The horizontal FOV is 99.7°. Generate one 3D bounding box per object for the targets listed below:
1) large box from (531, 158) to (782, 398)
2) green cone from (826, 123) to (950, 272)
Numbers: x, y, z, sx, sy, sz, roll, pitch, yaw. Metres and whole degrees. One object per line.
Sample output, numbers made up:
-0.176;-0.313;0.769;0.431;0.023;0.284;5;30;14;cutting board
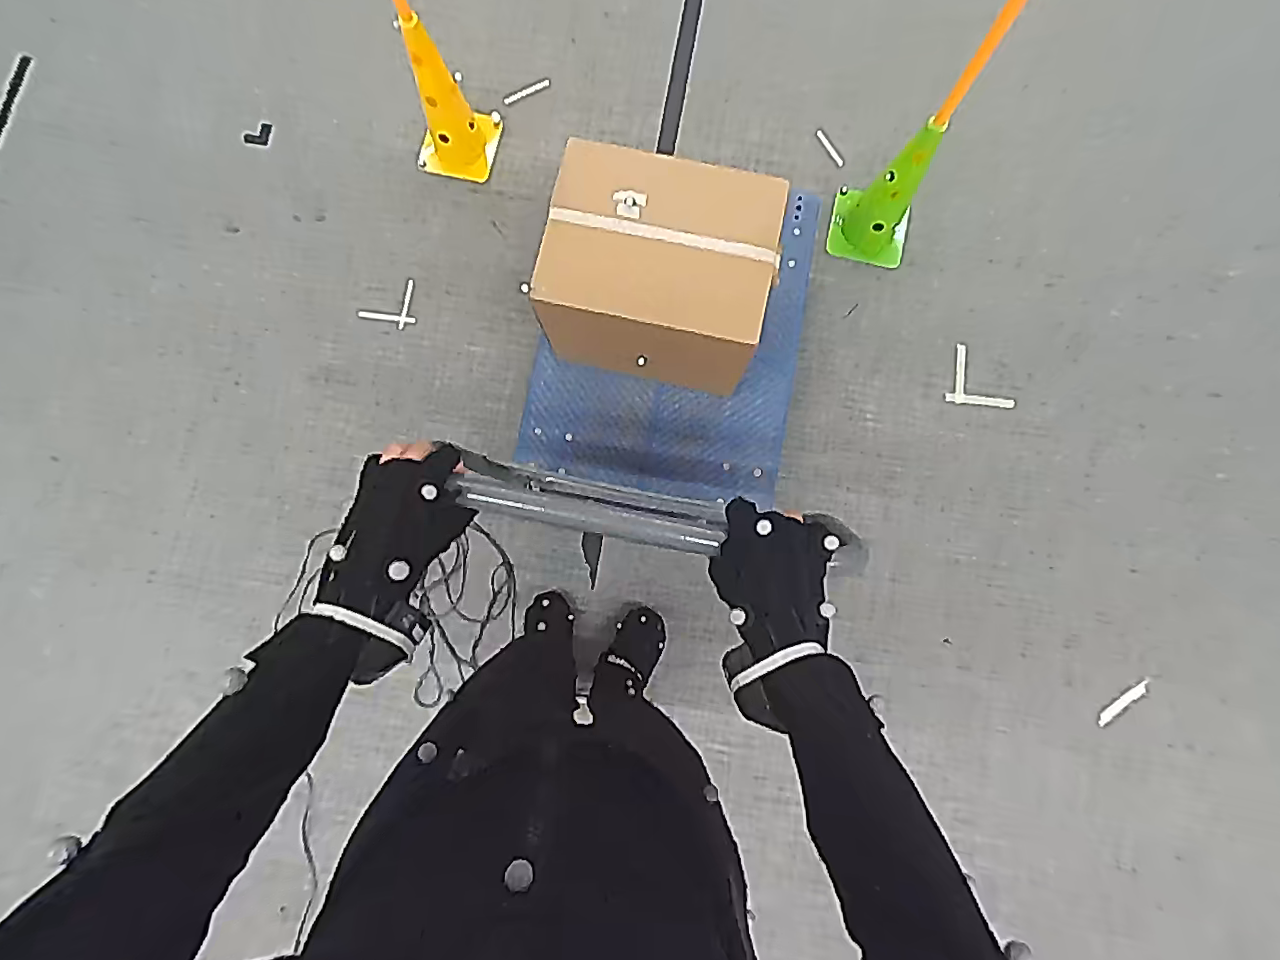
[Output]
0.038;-0.384;1.106;0.408;0.320;0.320;13;82;3;large box
0.614;-0.692;1.291;0.202;0.368;0.200;13;82;1;green cone
